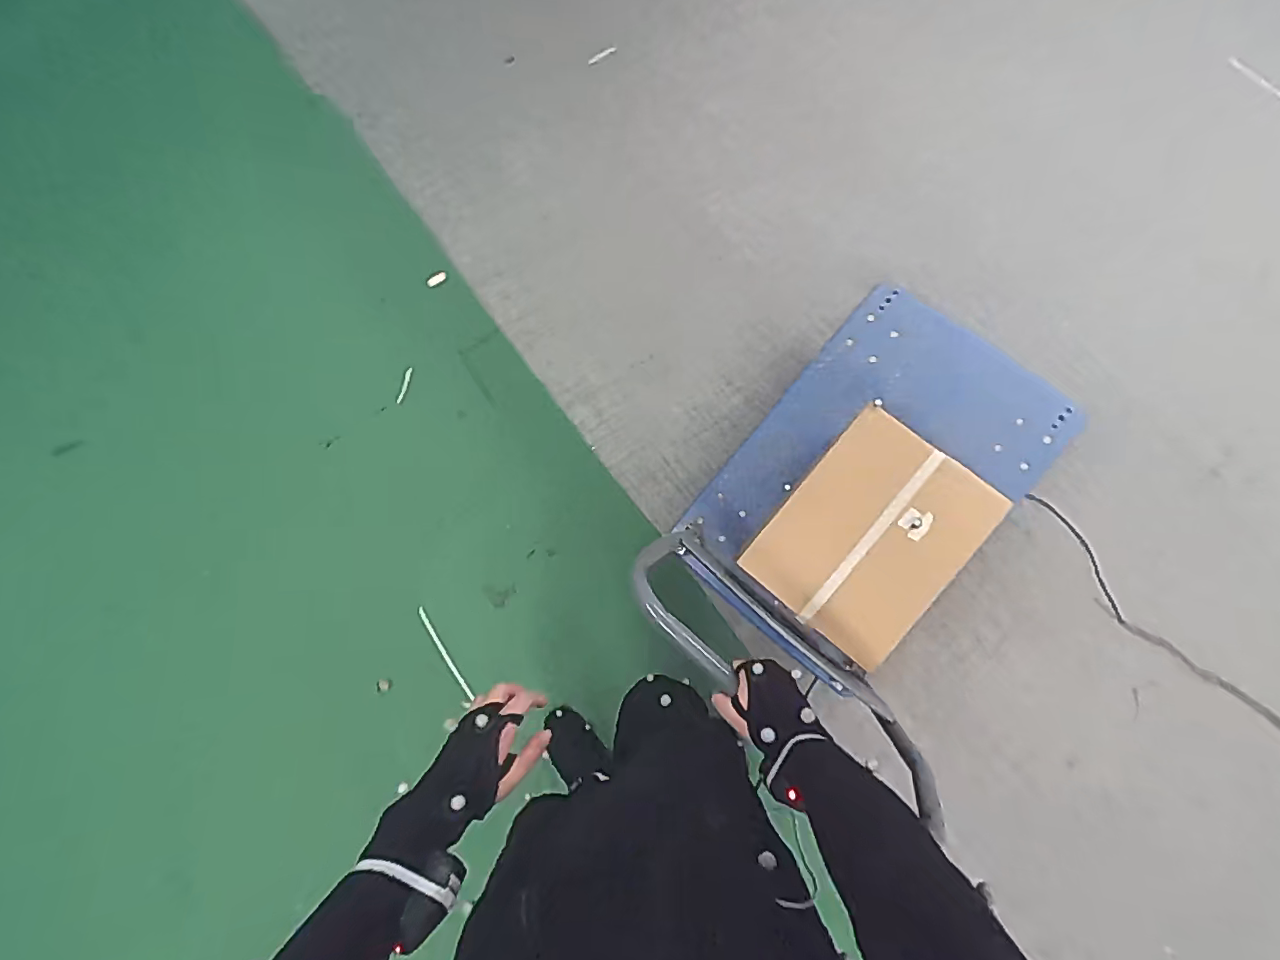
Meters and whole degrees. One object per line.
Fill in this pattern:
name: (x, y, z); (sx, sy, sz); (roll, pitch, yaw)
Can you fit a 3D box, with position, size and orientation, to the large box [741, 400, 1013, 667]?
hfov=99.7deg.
large box: (0.455, 0.113, 1.143); (0.320, 0.320, 0.408); (40, 90, 10)
